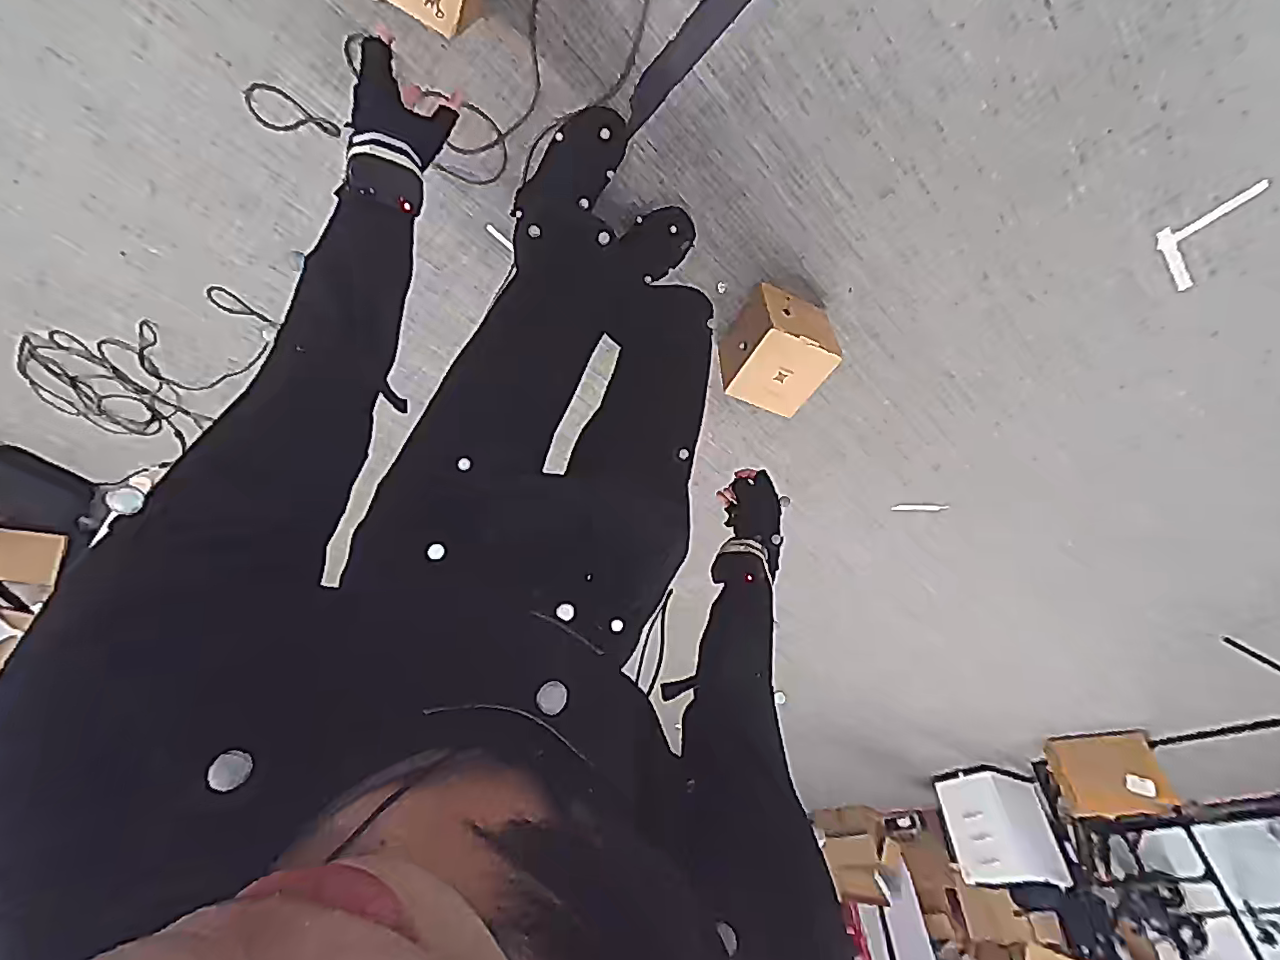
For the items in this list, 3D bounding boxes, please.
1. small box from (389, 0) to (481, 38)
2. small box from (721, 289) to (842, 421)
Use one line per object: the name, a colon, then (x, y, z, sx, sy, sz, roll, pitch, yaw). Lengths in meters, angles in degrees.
small box: (-0.267, -0.690, 0.648, 0.168, 0.176, 0.179, 20, 133, -21)
small box: (0.278, -0.258, 1.112, 0.168, 0.176, 0.179, 18, 136, -16)
